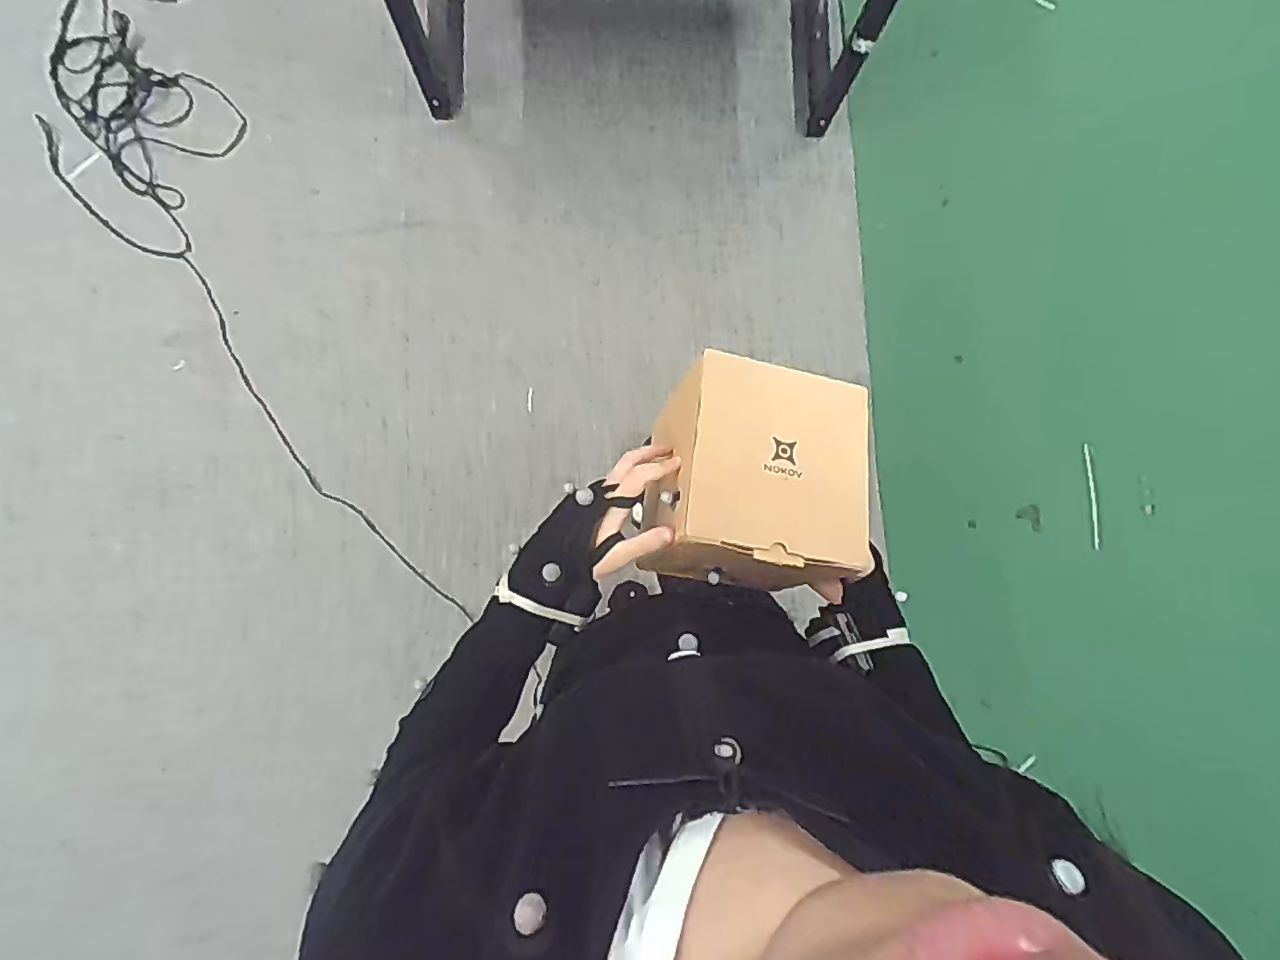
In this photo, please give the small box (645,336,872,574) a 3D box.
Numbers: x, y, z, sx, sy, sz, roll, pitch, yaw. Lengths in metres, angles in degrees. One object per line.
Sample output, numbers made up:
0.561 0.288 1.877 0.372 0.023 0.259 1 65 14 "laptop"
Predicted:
0.109 -0.011 0.548 0.168 0.176 0.179 11 71 -11 "small box"
